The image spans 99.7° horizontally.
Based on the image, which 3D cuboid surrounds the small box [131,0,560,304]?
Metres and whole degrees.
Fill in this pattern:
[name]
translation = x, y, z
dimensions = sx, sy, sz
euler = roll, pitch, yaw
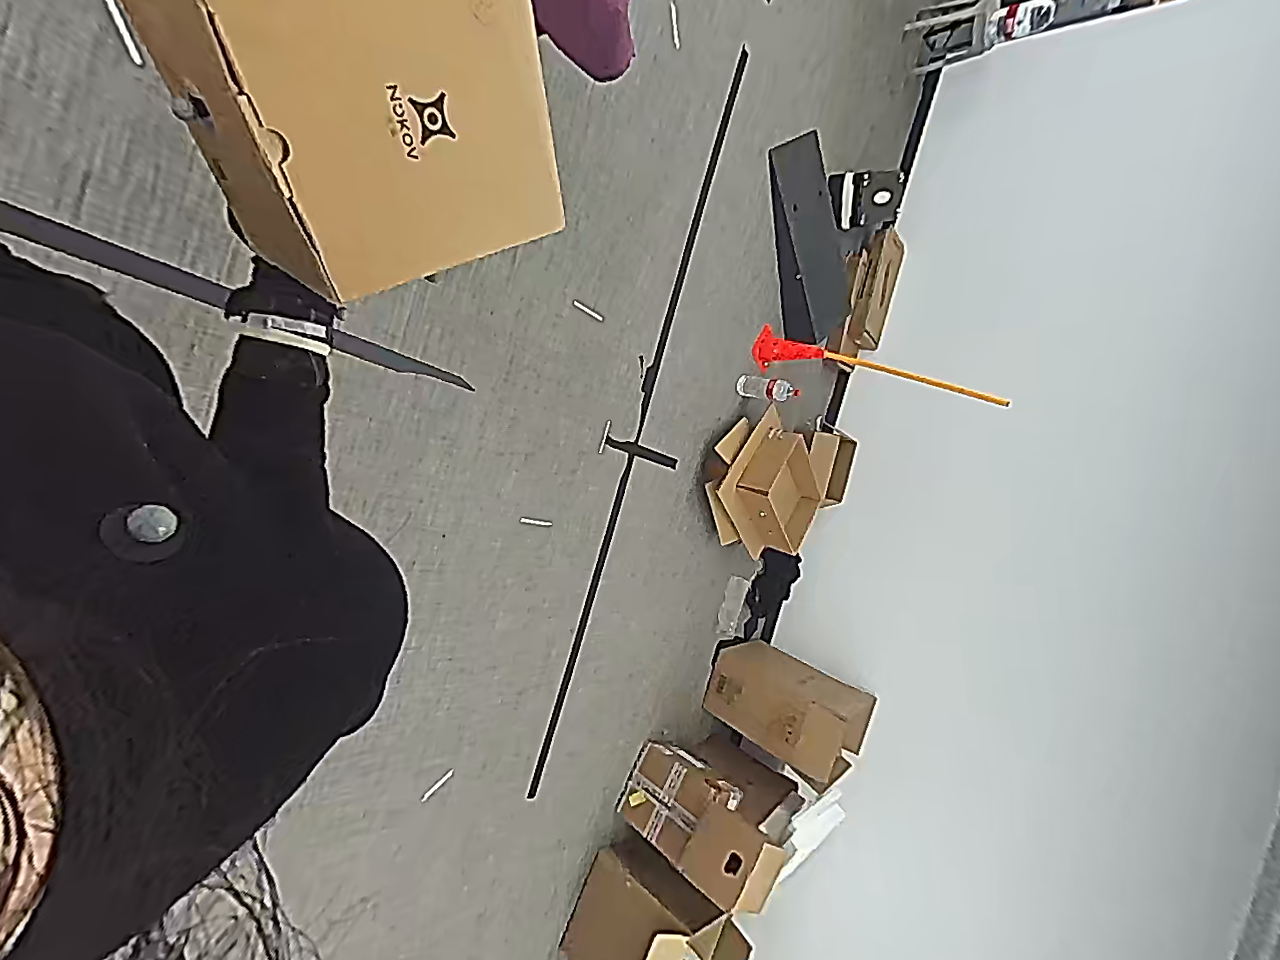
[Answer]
[small box]
translation = -0.182, -0.245, 0.364
dimensions = 0.179, 0.176, 0.168
euler = -35, 140, -29
